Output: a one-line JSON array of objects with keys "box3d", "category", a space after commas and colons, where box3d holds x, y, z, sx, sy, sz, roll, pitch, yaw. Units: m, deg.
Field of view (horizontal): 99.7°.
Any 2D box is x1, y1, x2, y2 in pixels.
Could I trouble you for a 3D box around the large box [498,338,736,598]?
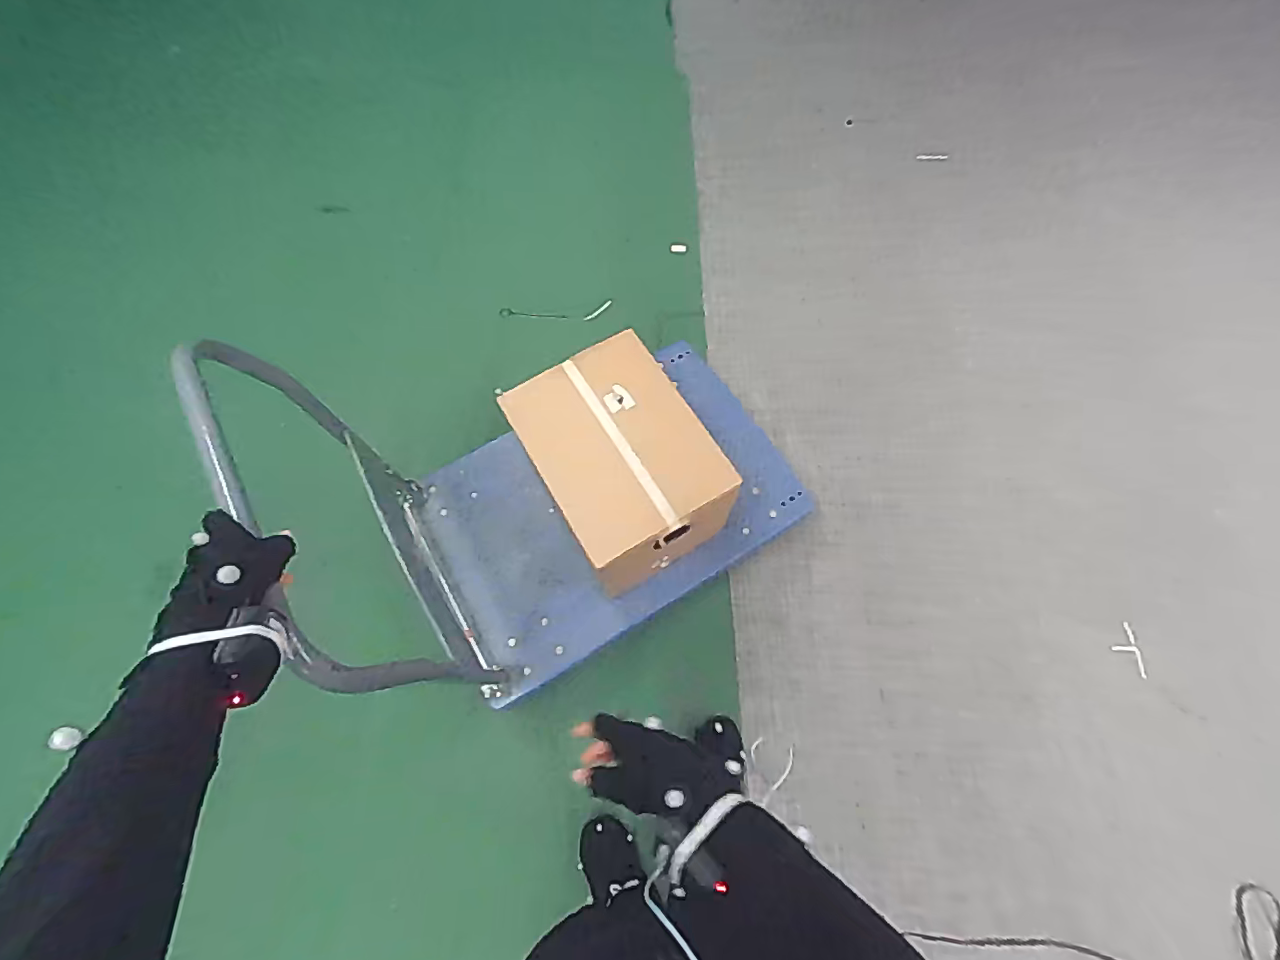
[{"box3d": [-0.046, -0.015, 1.172, 0.320, 0.320, 0.408, -29, 69, -11], "category": "large box"}]
